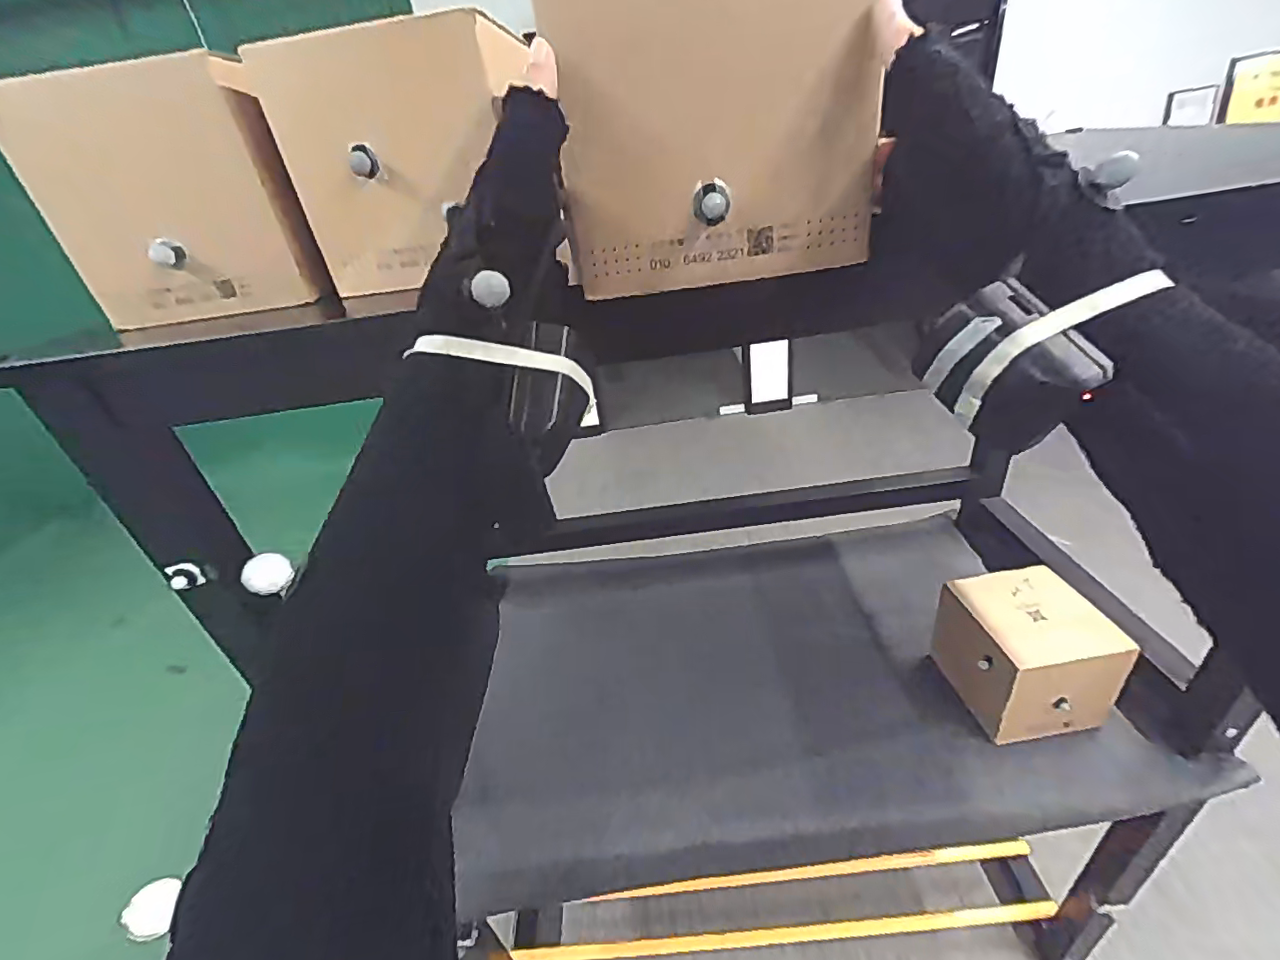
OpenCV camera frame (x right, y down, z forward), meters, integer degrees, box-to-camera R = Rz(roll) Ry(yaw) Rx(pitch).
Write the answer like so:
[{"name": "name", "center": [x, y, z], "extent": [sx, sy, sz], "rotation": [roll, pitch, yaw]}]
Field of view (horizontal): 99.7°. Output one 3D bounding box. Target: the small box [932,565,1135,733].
[{"name": "small box", "center": [0.578, 0.260, 0.823], "extent": [0.168, 0.176, 0.179], "rotation": [-9, 31, -1]}]

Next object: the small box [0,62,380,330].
[{"name": "small box", "center": [-0.355, -0.243, 0.474], "extent": [0.168, 0.176, 0.179], "rotation": [-8, 33, 1]}]
